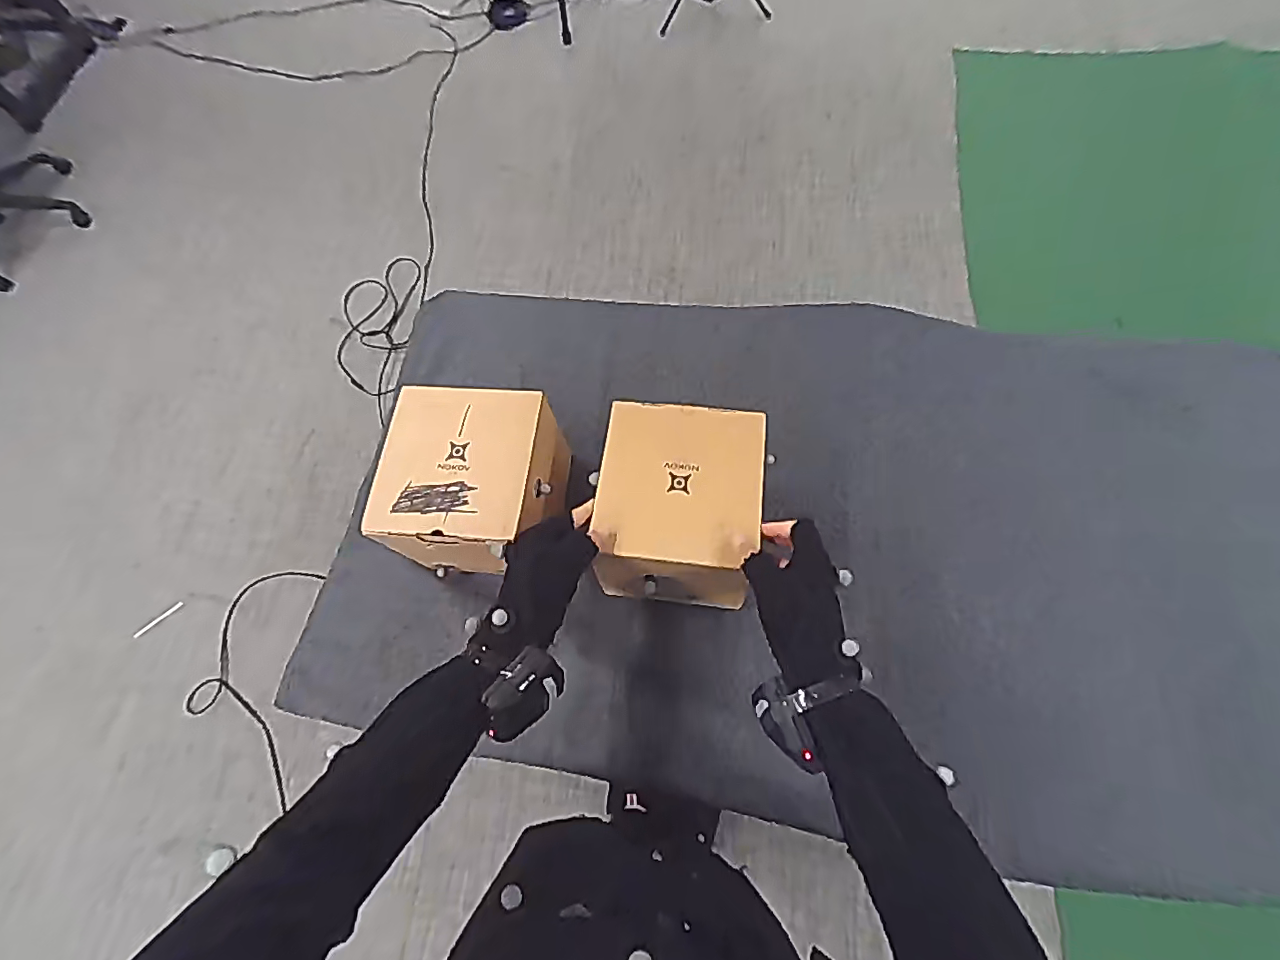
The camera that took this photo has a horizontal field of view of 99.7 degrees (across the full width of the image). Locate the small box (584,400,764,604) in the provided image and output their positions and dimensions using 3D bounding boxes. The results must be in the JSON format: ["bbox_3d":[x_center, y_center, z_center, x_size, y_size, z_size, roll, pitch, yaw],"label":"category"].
[{"bbox_3d":[0.044,0.032,0.608,0.168,0.176,0.179,5,65,7],"label":"small box"}]

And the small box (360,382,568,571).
[{"bbox_3d":[-0.189,0.004,0.641,0.168,0.176,0.179,3,68,6],"label":"small box"}]
